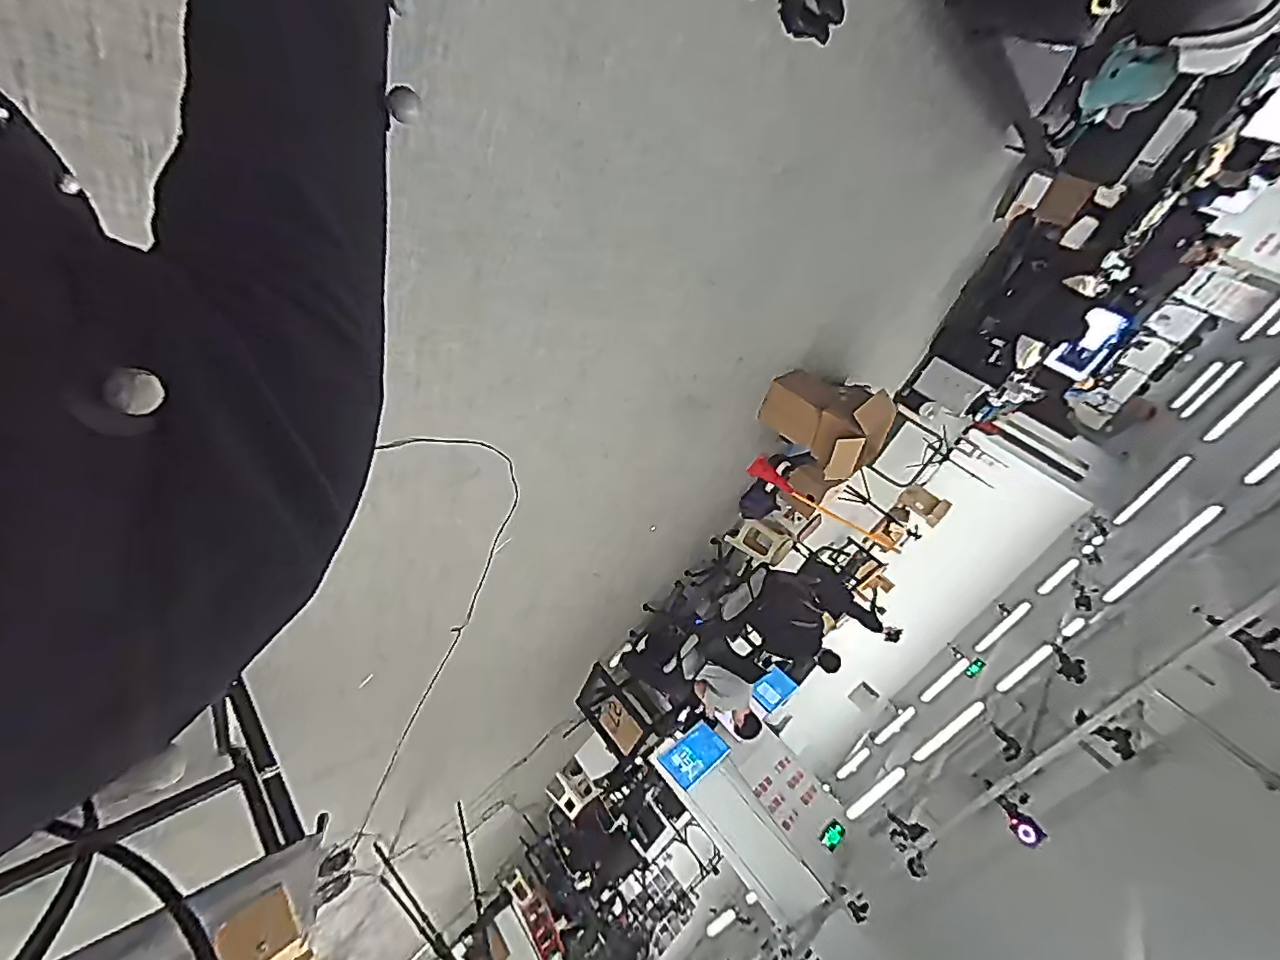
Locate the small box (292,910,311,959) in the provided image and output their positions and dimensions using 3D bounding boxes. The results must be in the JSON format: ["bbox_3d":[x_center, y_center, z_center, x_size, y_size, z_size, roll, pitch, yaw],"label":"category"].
[{"bbox_3d":[-1.172,1.534,1.716,0.179,0.176,0.168,-14,138,-46],"label":"small box"}]

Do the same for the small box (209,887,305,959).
[{"bbox_3d":[-1.096,1.324,1.552,0.179,0.176,0.168,-21,143,-38],"label":"small box"}]
